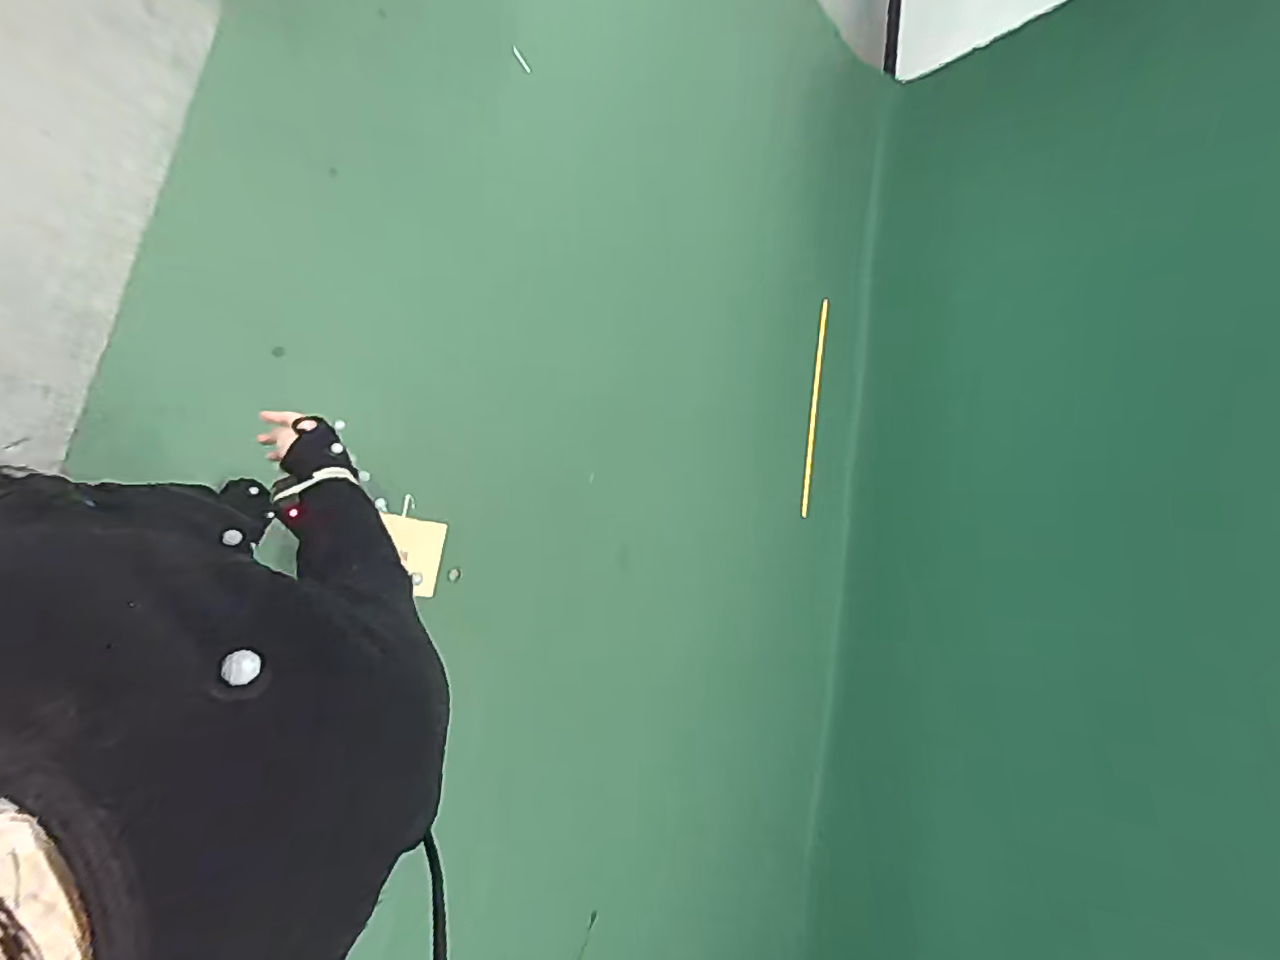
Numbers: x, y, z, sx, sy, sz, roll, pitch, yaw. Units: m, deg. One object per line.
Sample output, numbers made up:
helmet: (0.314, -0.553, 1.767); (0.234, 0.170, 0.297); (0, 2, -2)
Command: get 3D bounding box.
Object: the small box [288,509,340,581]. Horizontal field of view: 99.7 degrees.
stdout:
small box: (-0.722, 0.166, 1.318); (0.179, 0.176, 0.168); (20, 74, -43)
